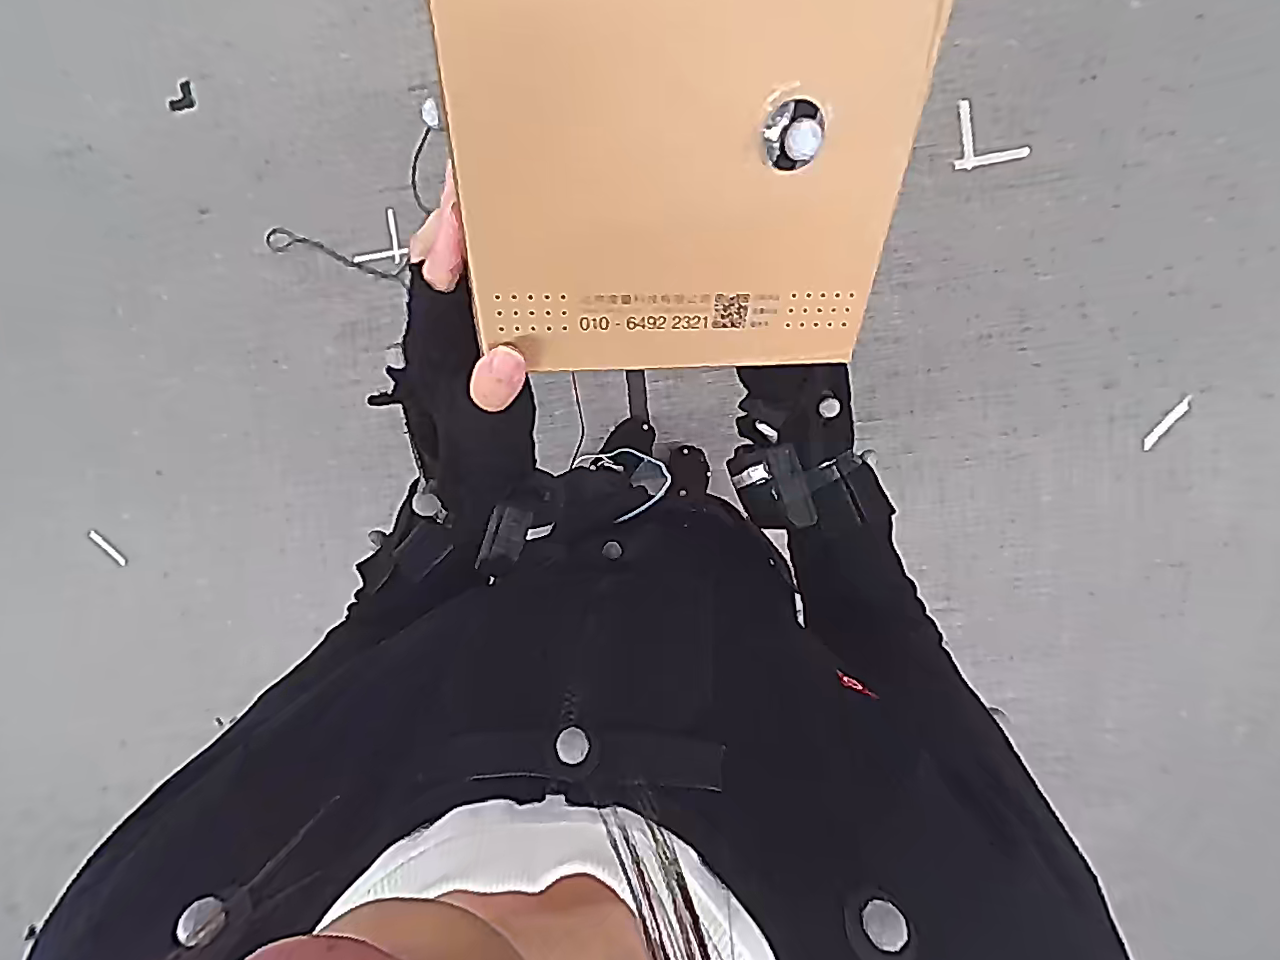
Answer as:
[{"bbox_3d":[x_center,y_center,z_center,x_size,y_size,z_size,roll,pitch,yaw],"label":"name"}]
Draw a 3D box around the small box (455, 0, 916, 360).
[{"bbox_3d":[0.011,-0.170,0.276,0.168,0.179,0.176,-3,127,-7],"label":"small box"}]
